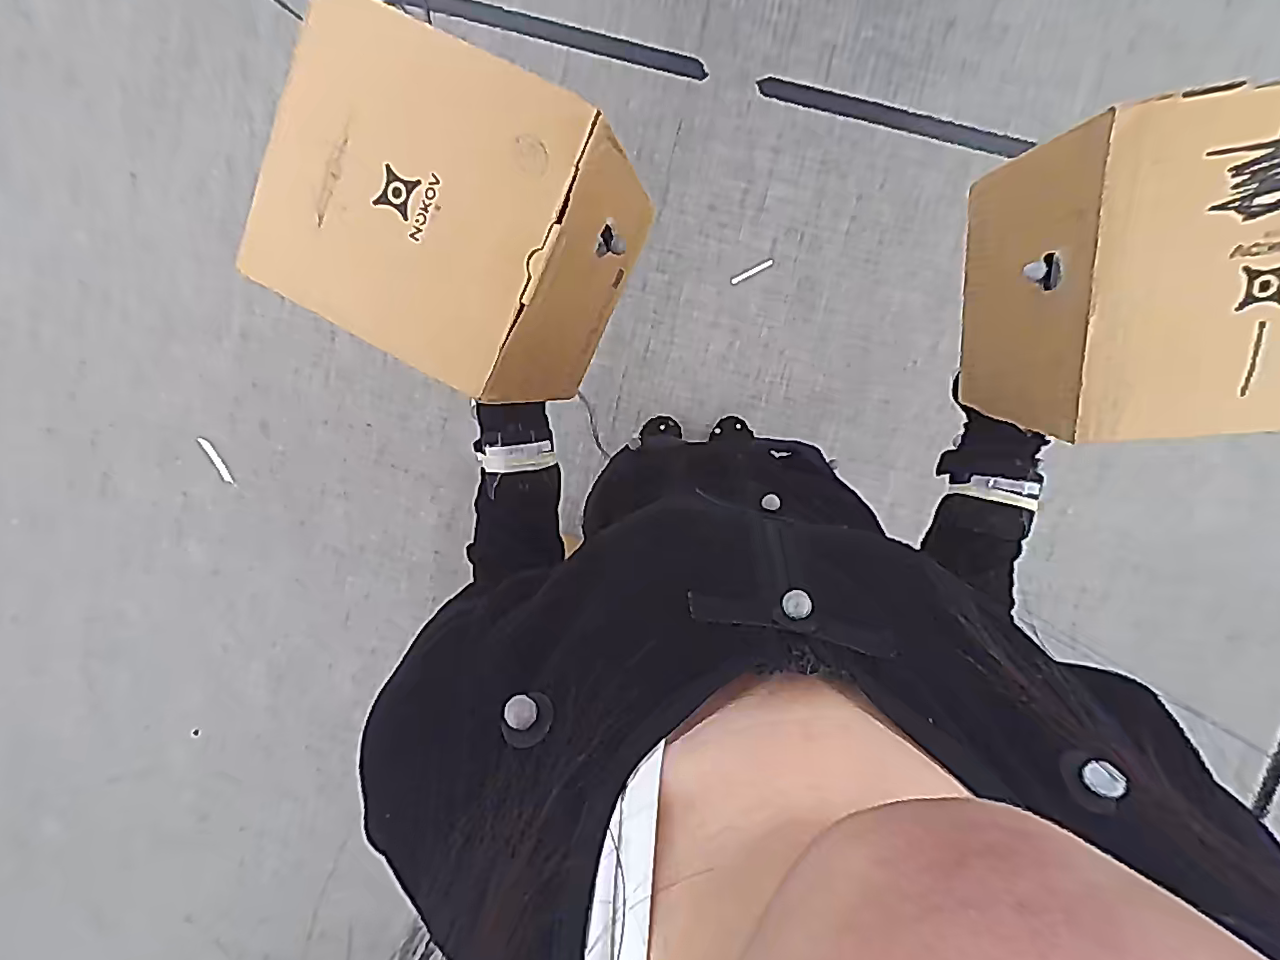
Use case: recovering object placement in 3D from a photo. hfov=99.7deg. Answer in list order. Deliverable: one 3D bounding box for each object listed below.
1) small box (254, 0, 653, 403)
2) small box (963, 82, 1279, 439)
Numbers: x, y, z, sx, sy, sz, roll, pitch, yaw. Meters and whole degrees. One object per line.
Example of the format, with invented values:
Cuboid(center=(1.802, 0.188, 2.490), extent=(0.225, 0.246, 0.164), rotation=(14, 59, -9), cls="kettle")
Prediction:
Cuboid(center=(-0.107, -0.167, 0.376), extent=(0.179, 0.176, 0.168), rotation=(28, 103, 6), cls="small box")
Cuboid(center=(0.338, -0.133, 0.360), extent=(0.168, 0.176, 0.179), rotation=(-4, 106, 10), cls="small box")
